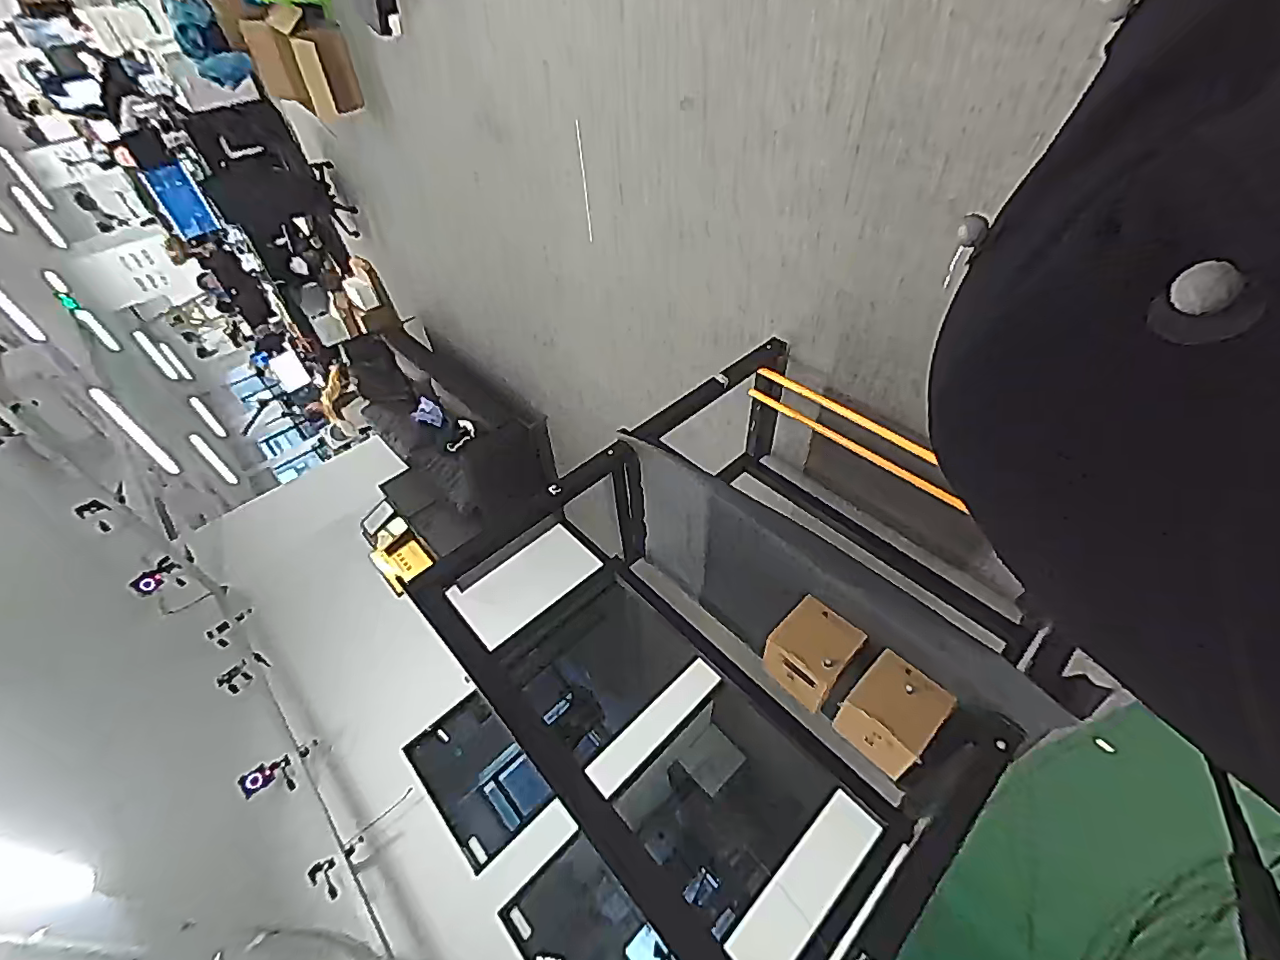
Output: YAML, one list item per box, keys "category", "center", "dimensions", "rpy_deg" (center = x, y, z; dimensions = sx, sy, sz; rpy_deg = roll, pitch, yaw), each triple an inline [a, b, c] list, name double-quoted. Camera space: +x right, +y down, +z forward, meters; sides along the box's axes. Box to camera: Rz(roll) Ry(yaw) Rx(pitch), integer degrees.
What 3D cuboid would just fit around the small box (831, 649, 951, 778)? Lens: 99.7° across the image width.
- category: "small box"
  center: [0.561, 0.519, 1.211]
  dimensions: [0.168, 0.176, 0.179]
  rpy_deg: [36, 149, 32]
